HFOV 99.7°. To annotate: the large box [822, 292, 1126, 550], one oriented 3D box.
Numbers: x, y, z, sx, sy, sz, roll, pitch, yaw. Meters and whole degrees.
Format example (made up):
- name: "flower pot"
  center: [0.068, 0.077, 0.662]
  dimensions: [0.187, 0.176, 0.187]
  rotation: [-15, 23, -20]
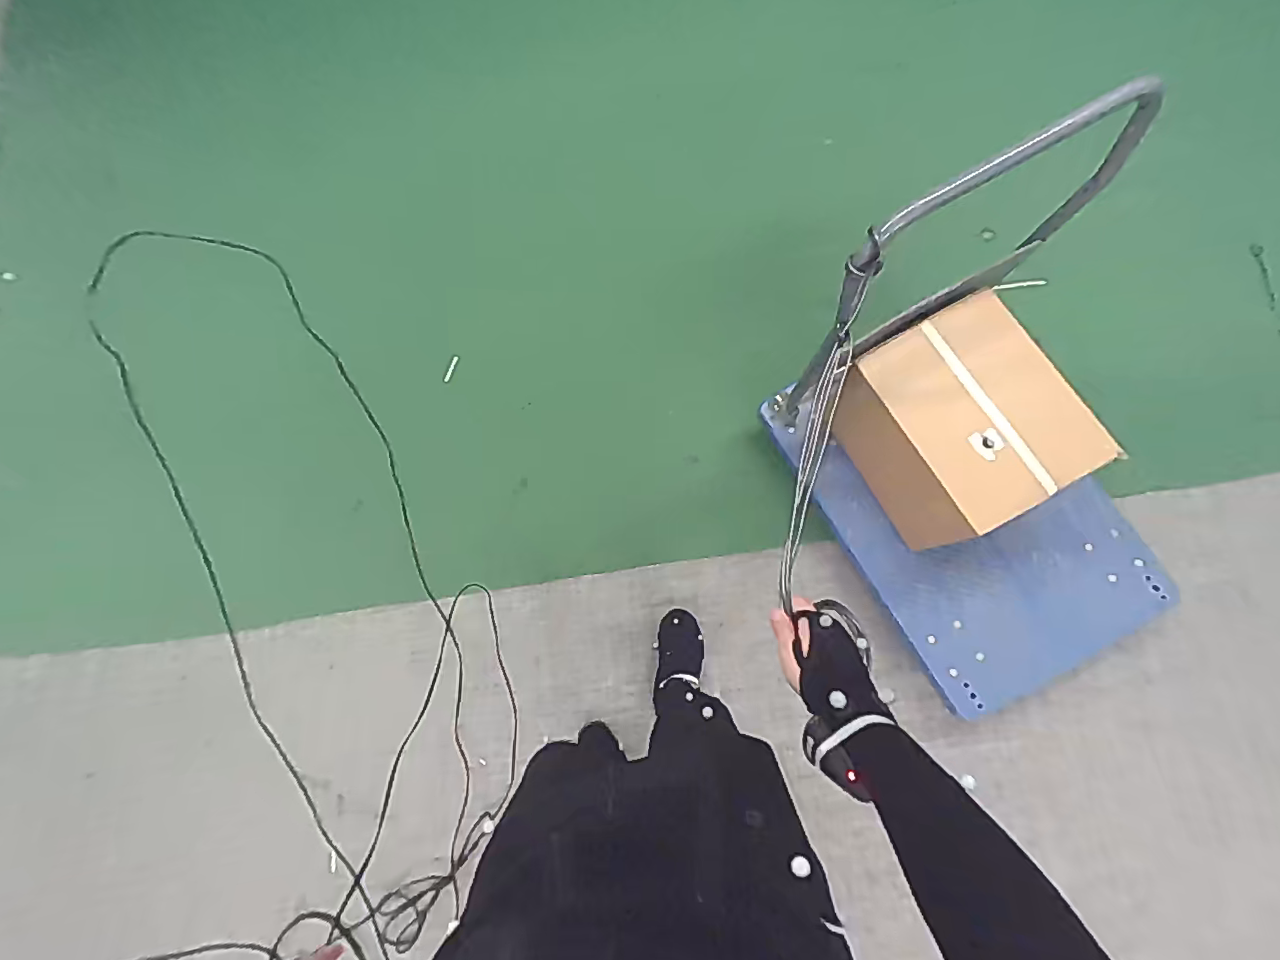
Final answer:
- name: "large box"
  center: [0.664, -0.104, 1.160]
  dimensions: [0.320, 0.320, 0.408]
  rotation: [-30, 78, -1]
